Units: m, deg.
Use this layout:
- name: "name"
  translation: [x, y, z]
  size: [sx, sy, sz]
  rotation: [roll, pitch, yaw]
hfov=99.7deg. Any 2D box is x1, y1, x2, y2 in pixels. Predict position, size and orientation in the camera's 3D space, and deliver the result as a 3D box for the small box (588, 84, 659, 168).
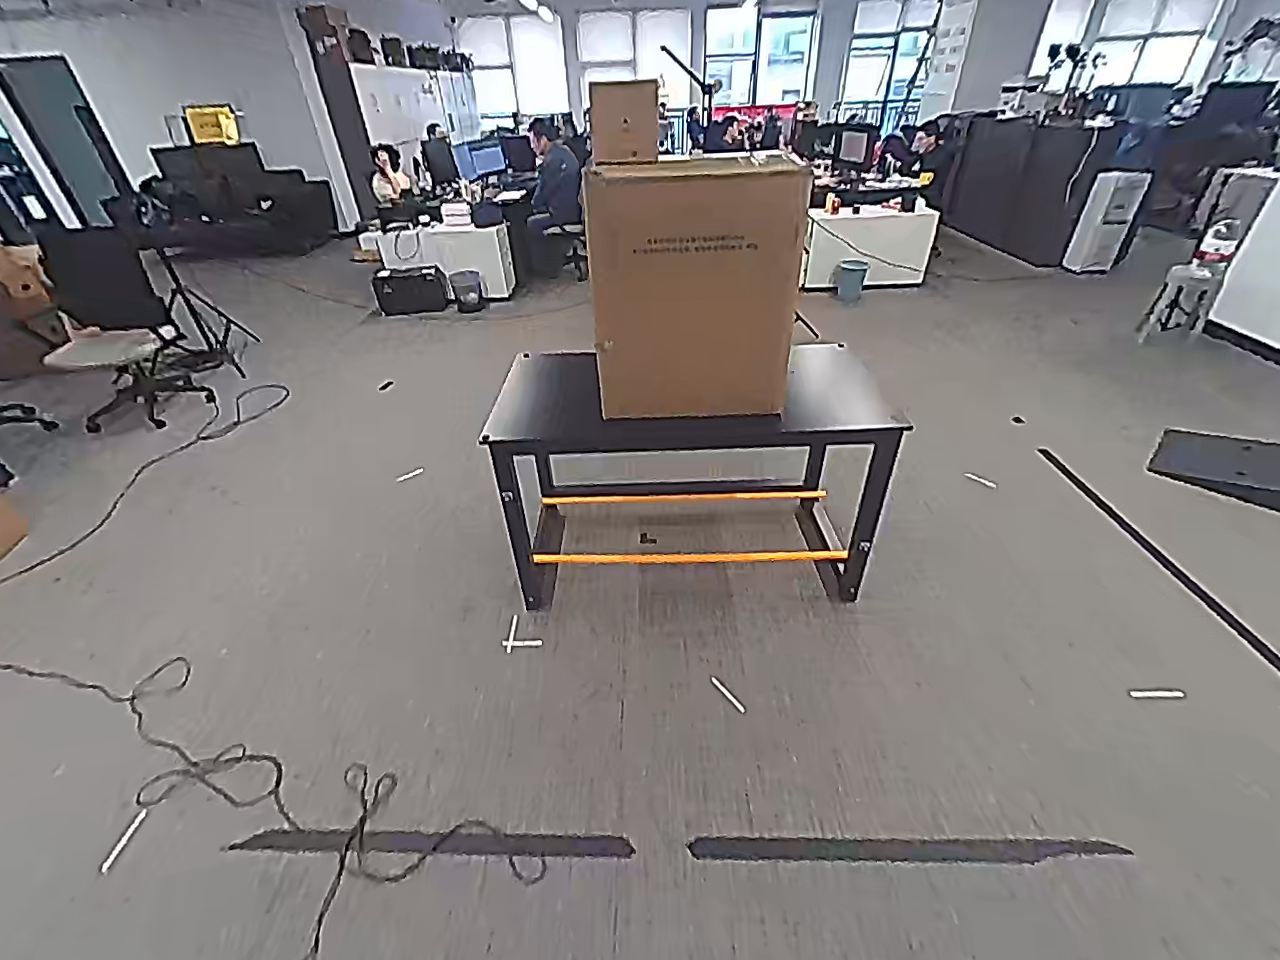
- name: "small box"
  translation: [-0.035, -0.892, 1.366]
  size: [0.168, 0.176, 0.179]
  rotation: [-1, 35, 1]
